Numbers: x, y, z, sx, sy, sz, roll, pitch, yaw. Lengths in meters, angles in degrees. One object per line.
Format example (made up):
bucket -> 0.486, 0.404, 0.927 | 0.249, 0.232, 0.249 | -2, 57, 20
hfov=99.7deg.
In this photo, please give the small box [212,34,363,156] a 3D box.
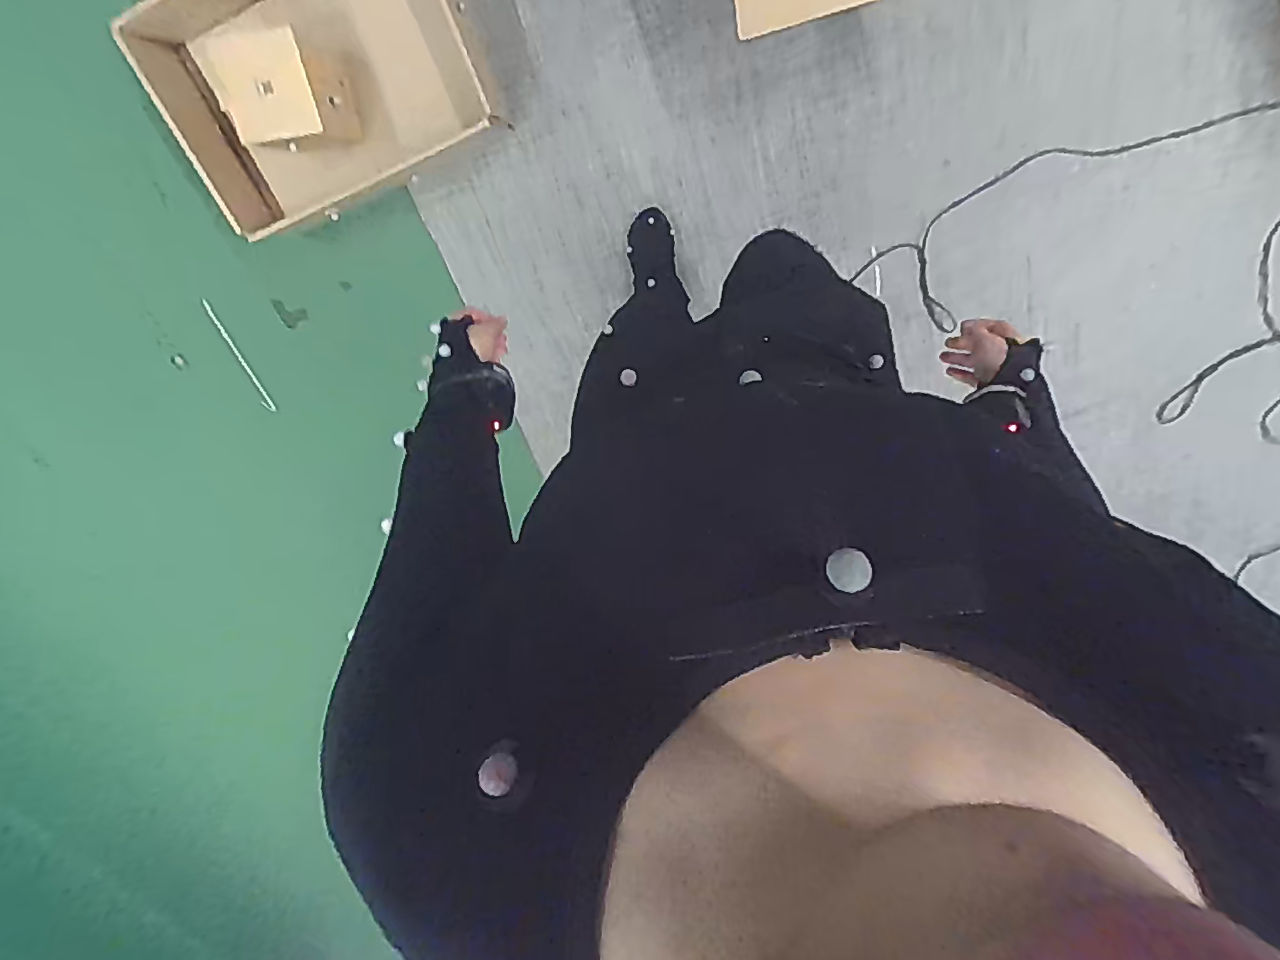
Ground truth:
small box -> -0.695, -0.769, 1.097 | 0.179, 0.176, 0.168 | -6, 115, 5
